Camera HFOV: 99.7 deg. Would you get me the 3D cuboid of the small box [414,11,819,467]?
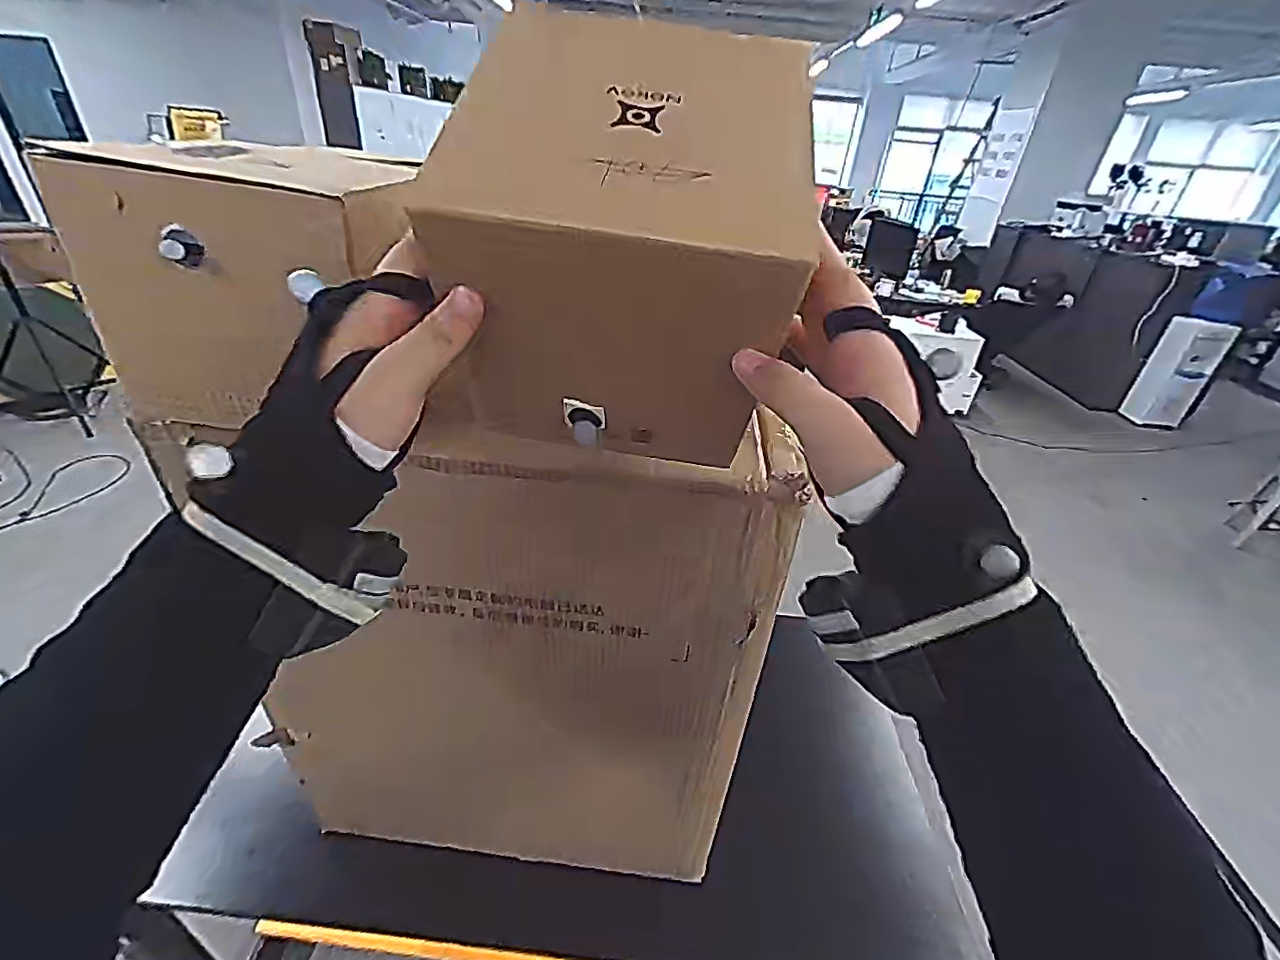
[{"bbox_3d":[-0.005,-0.131,0.323,0.168,0.176,0.179,7,61,1],"label":"small box"}]
